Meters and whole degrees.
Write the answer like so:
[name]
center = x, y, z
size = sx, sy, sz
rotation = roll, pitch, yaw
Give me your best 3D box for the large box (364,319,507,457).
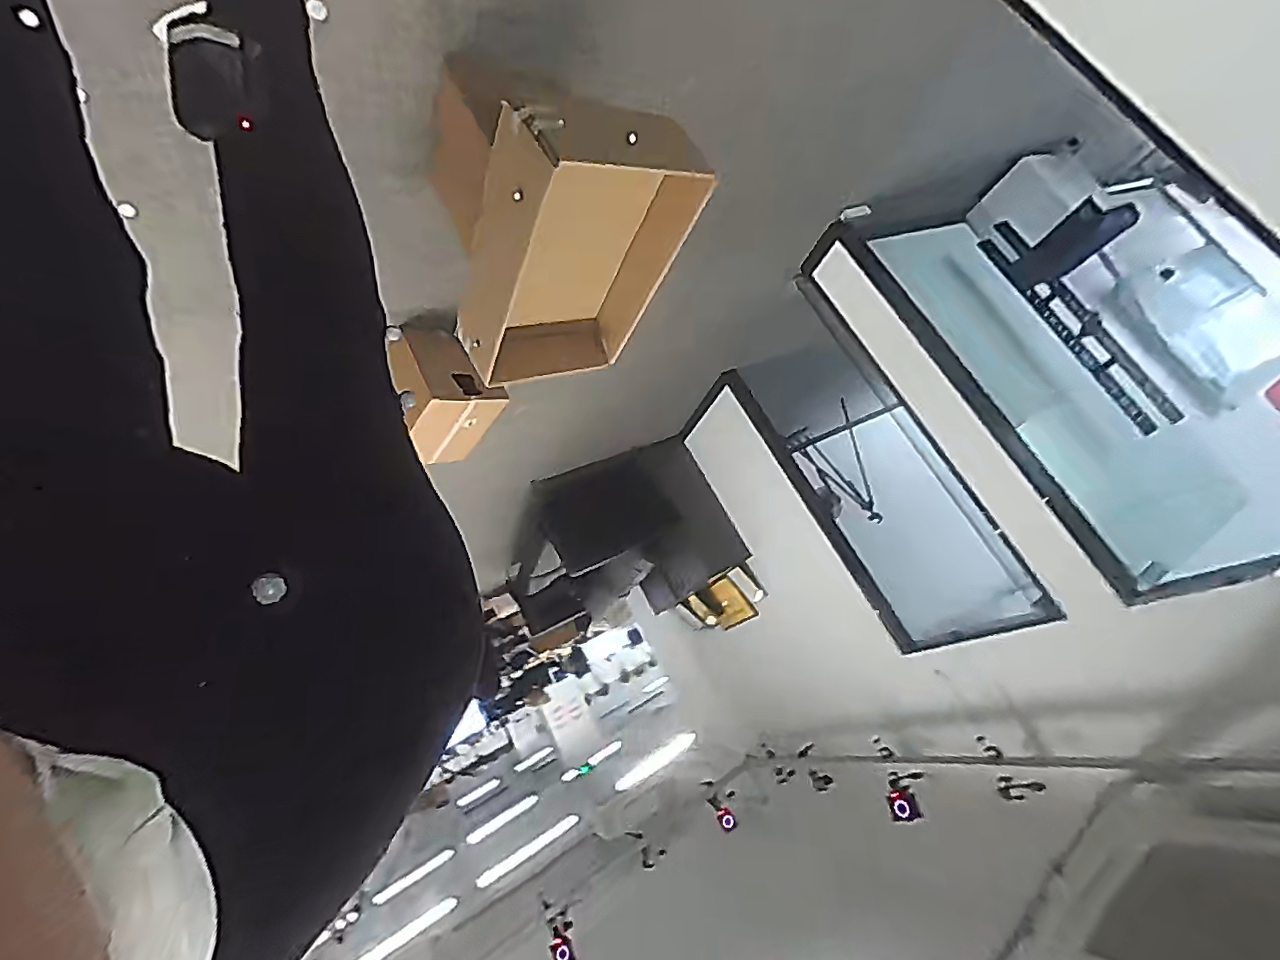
[large box]
center = -0.763, -0.328, 1.991
size = 0.320, 0.320, 0.408
rotation = -12, 157, -50
